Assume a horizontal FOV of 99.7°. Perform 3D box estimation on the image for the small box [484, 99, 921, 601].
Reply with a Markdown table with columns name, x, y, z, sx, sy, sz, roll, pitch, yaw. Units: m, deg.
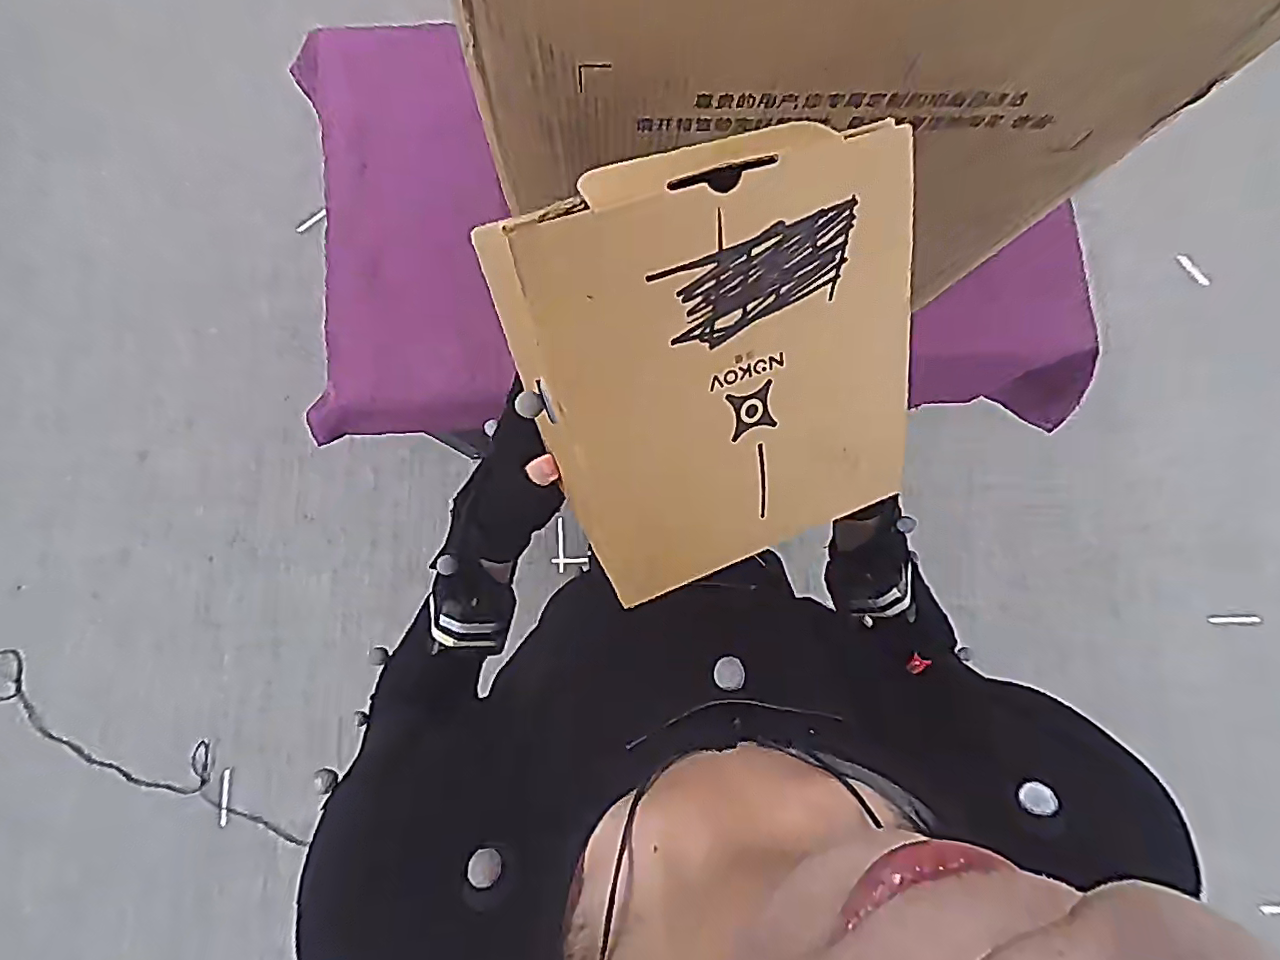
| name | x | y | z | sx | sy | sz | roll | pitch | yaw |
| --- | --- | --- | --- | --- | --- | --- | --- | --- | --- |
| small box | 0.024 | -0.073 | 0.298 | 0.168 | 0.176 | 0.179 | -21 | 118 | -11 |
